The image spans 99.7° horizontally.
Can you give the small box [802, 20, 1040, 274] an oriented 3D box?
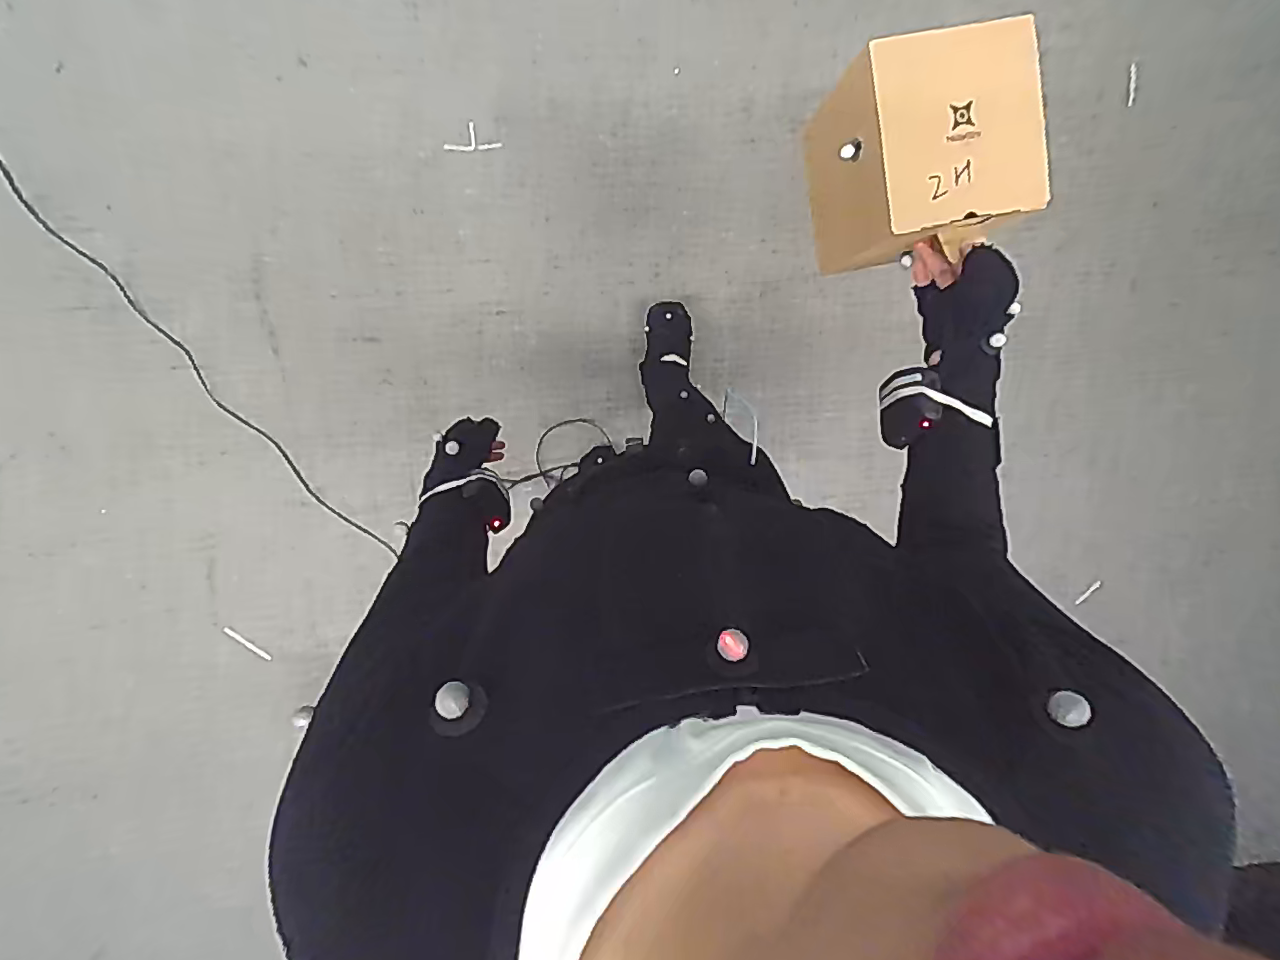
[{"bbox_3d":[0.294,-0.349,0.599,0.168,0.176,0.179,-12,98,-3],"label":"small box"}]
